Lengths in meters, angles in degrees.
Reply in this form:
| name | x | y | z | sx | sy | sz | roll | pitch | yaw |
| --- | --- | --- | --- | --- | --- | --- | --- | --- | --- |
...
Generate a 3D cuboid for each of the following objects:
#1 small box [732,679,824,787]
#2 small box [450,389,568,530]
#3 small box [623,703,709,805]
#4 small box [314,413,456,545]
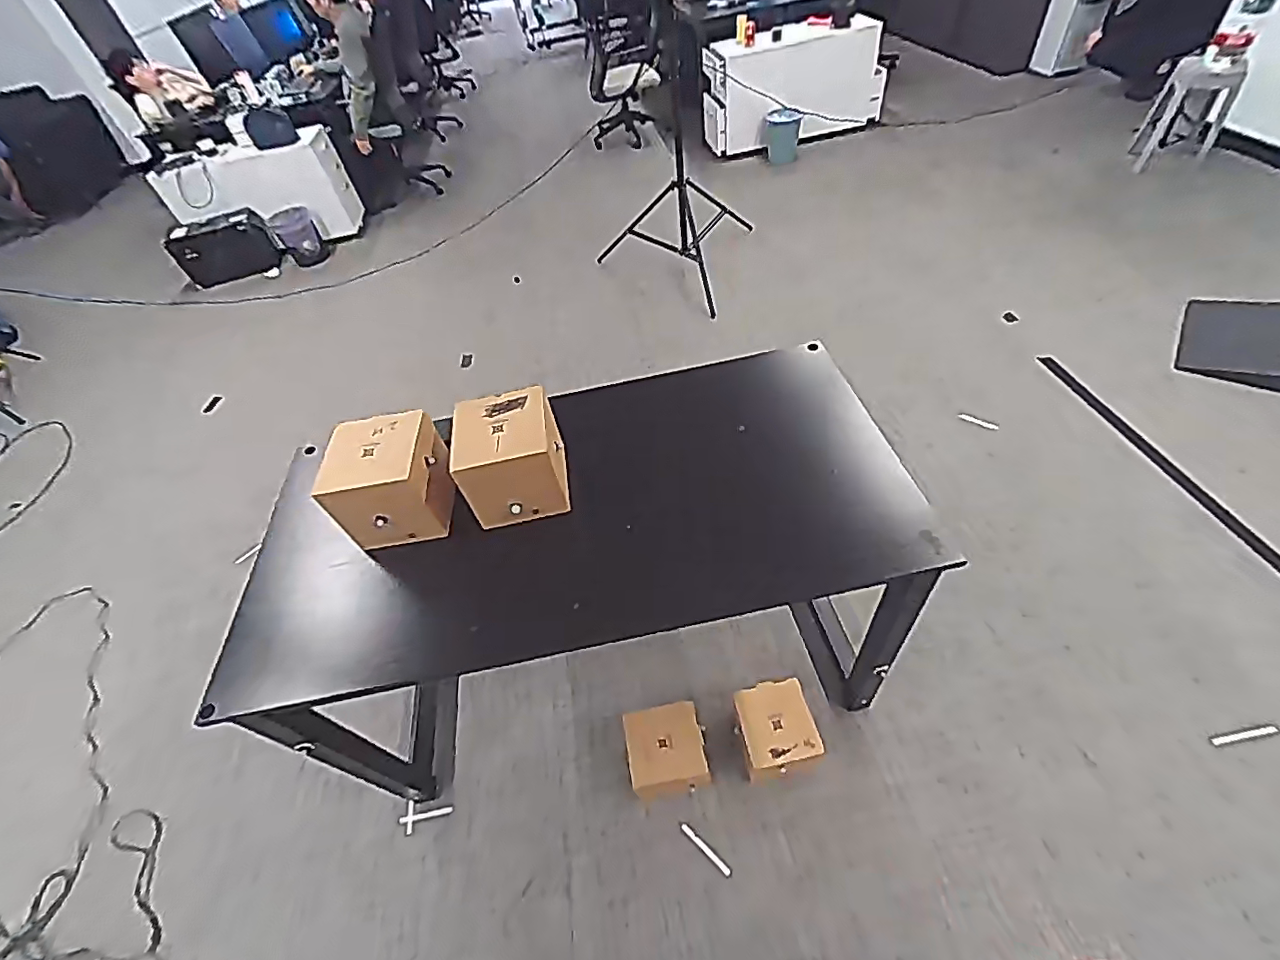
| name | x | y | z | sx | sy | sz | roll | pitch | yaw |
| --- | --- | --- | --- | --- | --- | --- | --- | --- | --- |
| small box | 0.323 | 0.612 | 1.306 | 0.168 | 0.176 | 0.179 | -13 | 48 | 0 |
| small box | -0.235 | -0.036 | 0.995 | 0.168 | 0.176 | 0.179 | -13 | 50 | -1 |
| small box | 0.066 | 0.665 | 1.309 | 0.179 | 0.176 | 0.168 | -13 | 48 | 0 |
| small box | -0.455 | 0.006 | 0.998 | 0.168 | 0.176 | 0.179 | -9 | 48 | 1 |
